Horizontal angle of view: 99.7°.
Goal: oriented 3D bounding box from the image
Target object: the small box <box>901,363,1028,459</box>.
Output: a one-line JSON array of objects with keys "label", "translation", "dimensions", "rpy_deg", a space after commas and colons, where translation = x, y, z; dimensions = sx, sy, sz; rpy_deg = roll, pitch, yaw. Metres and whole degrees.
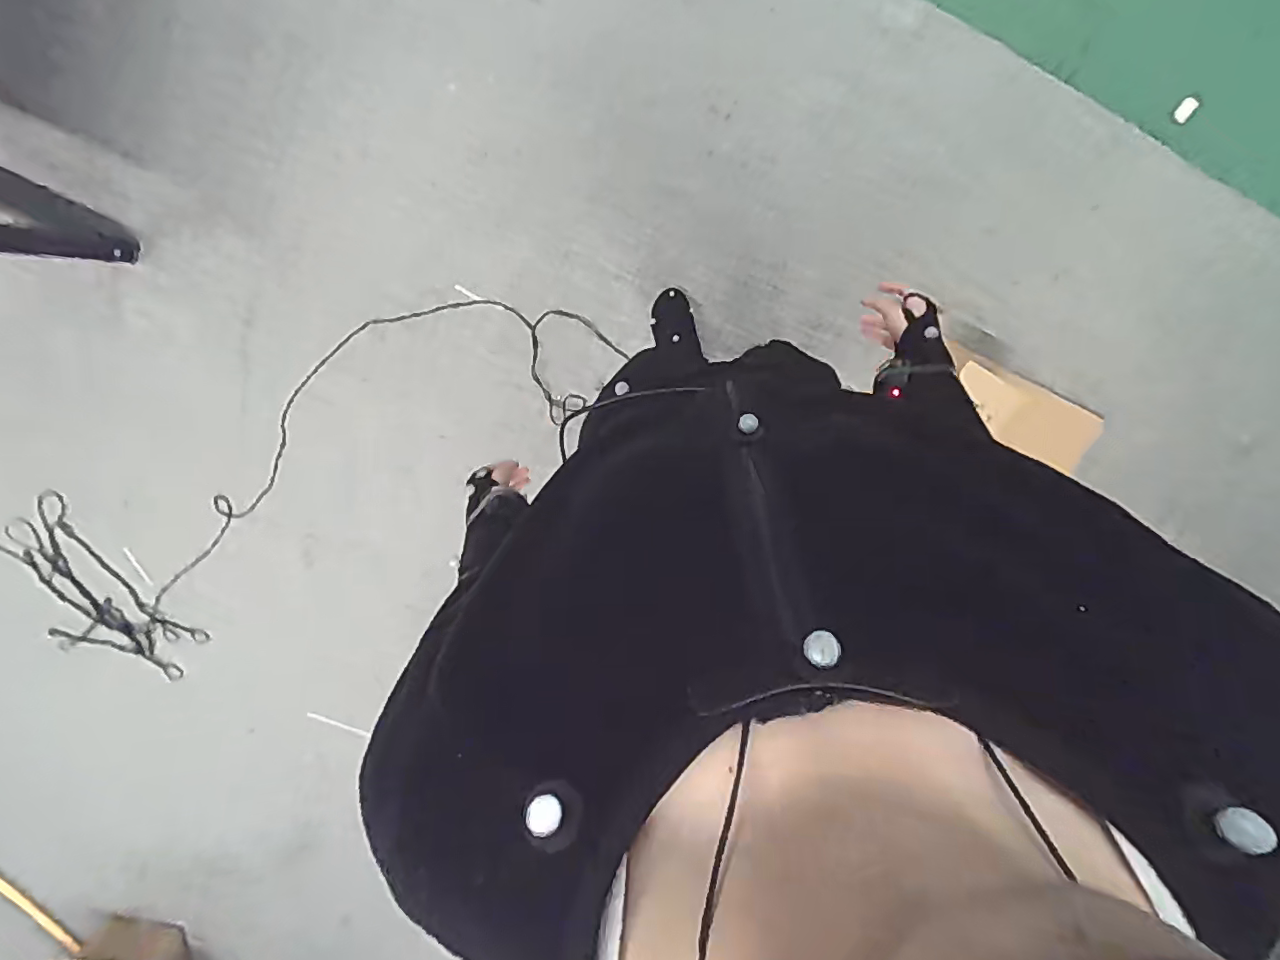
[{"label": "small box", "translation": [0.792, -0.179, 1.344], "dimensions": [0.179, 0.176, 0.168], "rpy_deg": [30, 107, -7]}]
